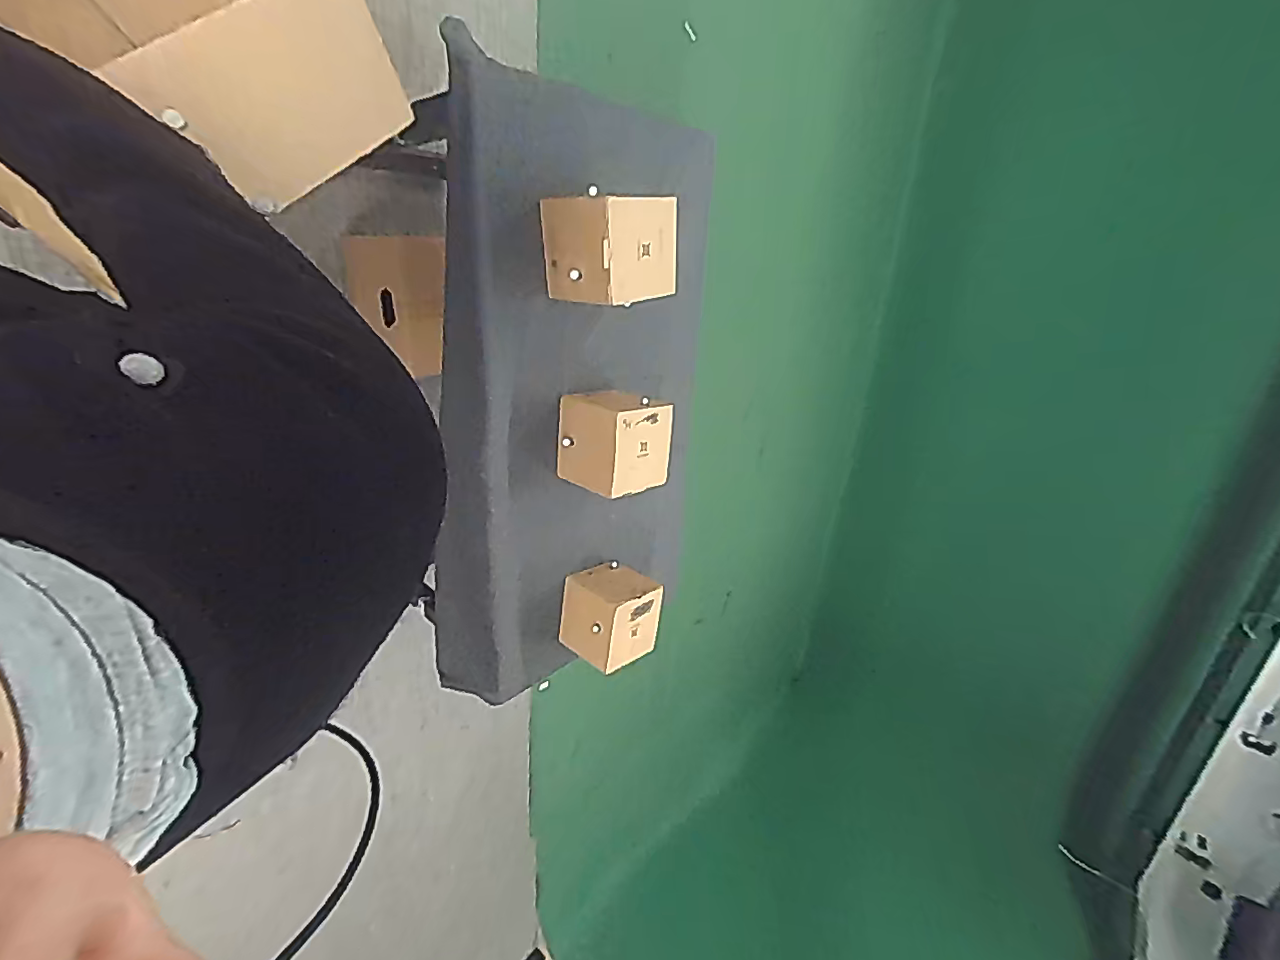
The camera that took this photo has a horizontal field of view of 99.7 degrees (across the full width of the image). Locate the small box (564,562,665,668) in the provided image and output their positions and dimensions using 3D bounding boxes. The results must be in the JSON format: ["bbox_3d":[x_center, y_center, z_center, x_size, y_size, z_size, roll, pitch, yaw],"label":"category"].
[{"bbox_3d":[-0.064,0.309,1.291,0.168,0.176,0.179,-10,115,-47],"label":"small box"}]

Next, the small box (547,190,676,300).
[{"bbox_3d":[-0.053,-0.424,0.969,0.179,0.176,0.168,-30,130,-41],"label":"small box"}]

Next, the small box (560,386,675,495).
[{"bbox_3d":[-0.051,-0.090,1.125,0.168,0.176,0.179,-16,119,-45],"label":"small box"}]
